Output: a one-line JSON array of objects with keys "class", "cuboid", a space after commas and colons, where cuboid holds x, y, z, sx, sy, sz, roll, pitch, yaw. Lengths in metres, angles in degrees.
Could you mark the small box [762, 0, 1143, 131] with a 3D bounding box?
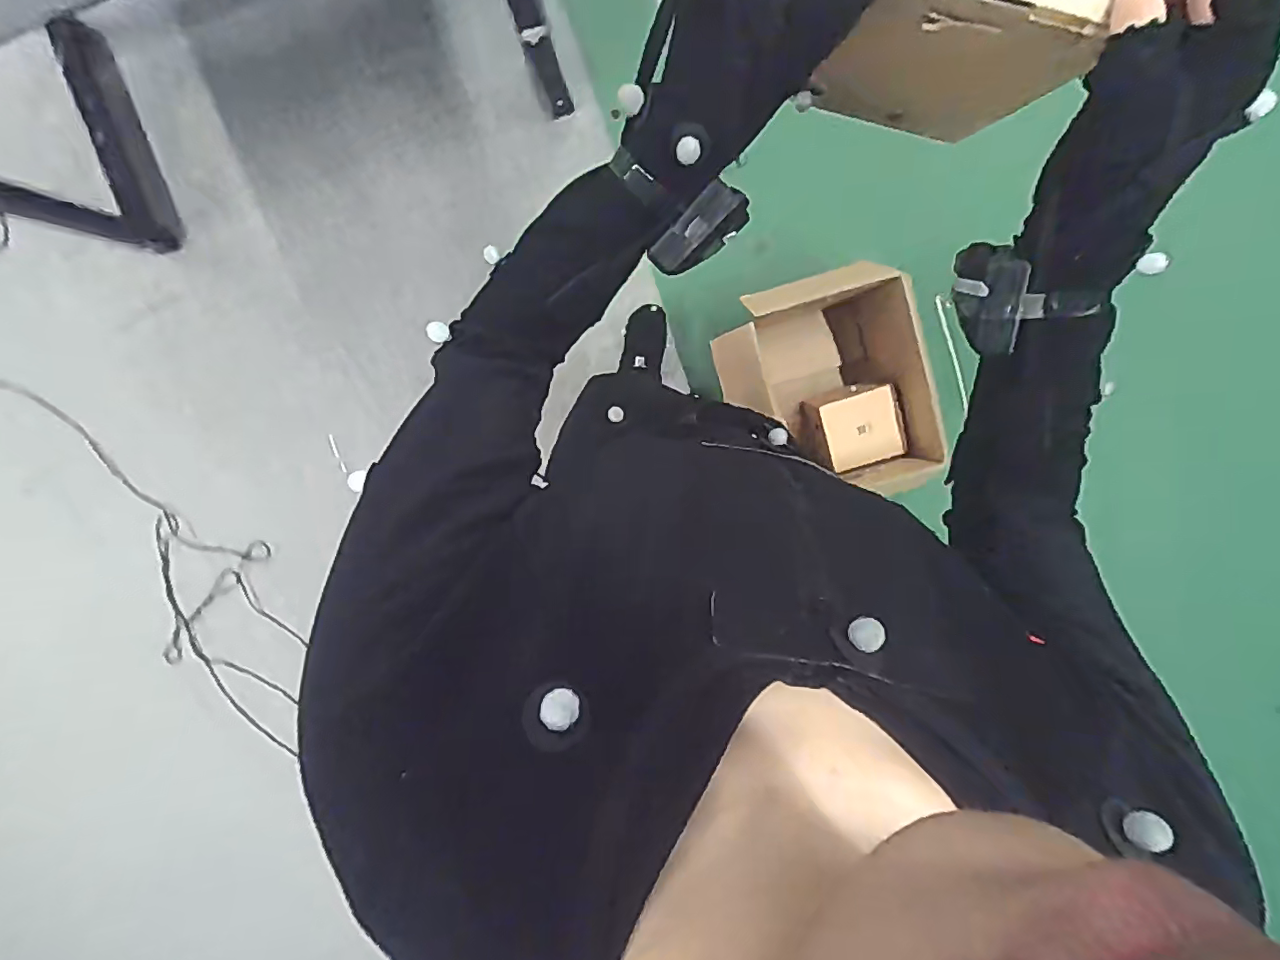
[{"class": "small box", "cuboid": [0.182, -0.340, 0.318, 0.168, 0.176, 0.179, 11, 105, -4]}]
